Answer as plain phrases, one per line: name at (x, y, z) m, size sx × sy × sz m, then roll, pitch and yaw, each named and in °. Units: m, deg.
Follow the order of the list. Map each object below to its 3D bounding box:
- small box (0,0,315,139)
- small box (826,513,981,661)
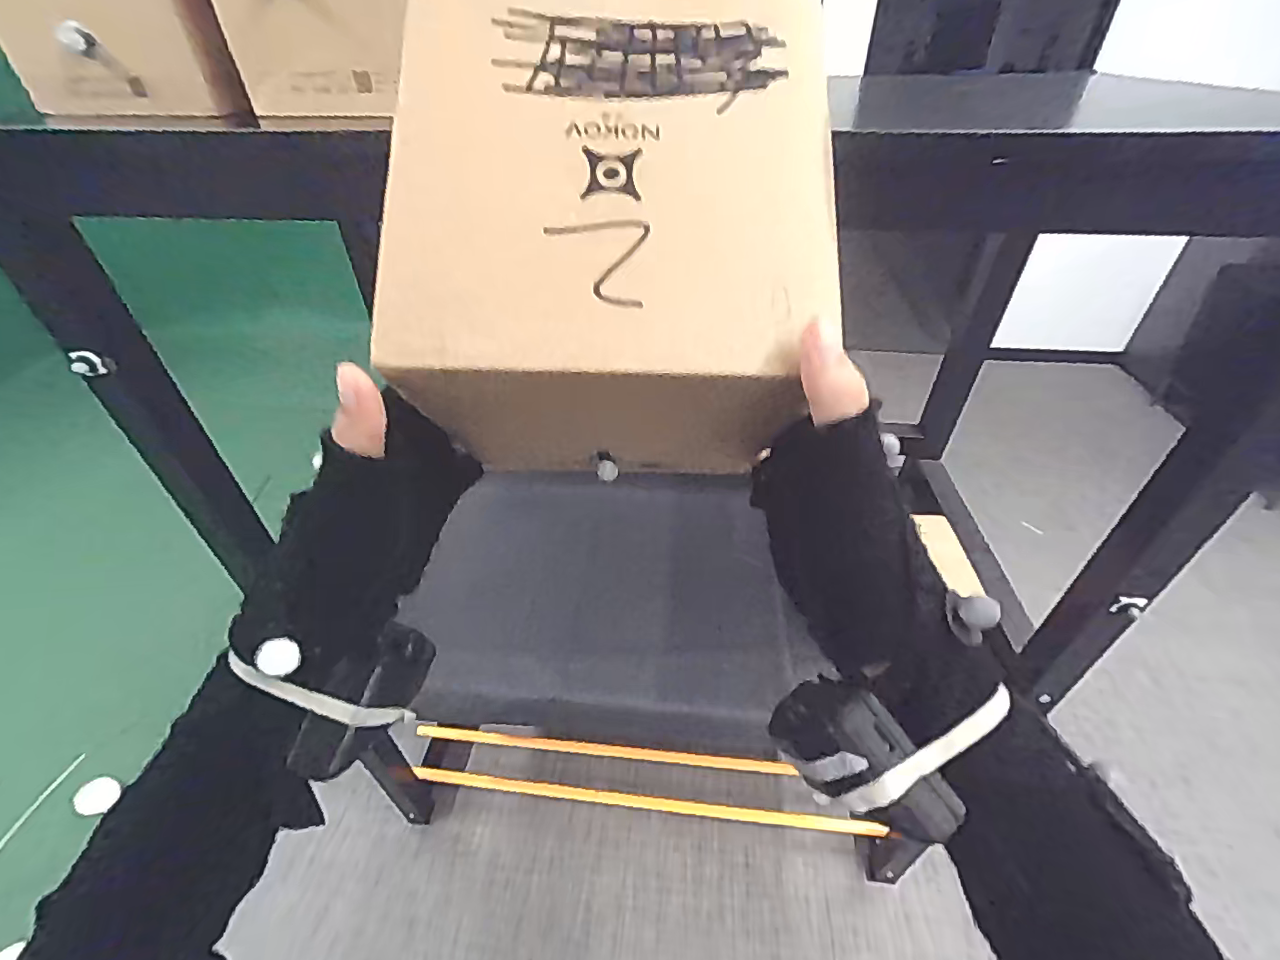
small box at (-0.430, -0.418, 0.484) m, size 0.168 × 0.176 × 0.179 m, roll 3°, pitch 40°, yaw 5°
small box at (0.415, 0.176, 0.886) m, size 0.168 × 0.176 × 0.179 m, roll 2°, pitch 38°, yaw 4°
